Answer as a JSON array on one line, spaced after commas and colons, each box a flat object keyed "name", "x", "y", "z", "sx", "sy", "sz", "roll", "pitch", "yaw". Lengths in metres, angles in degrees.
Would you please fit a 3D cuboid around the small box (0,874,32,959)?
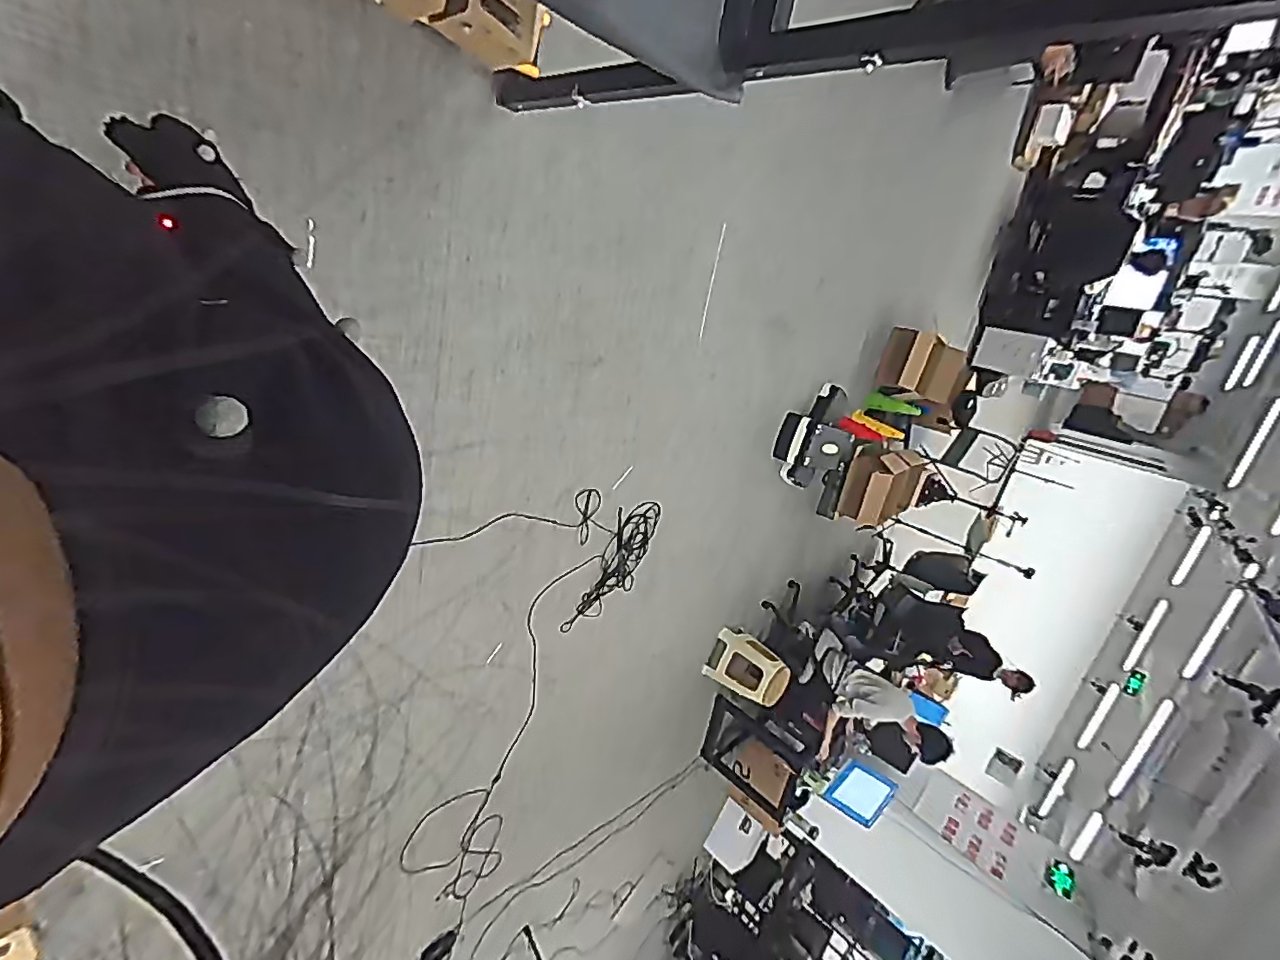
[{"name": "small box", "x": -1.487, "y": 1.027, "z": 1.197, "sx": 0.168, "sy": 0.176, "sz": 0.179, "roll": -10, "pitch": 118, "yaw": -46}]
